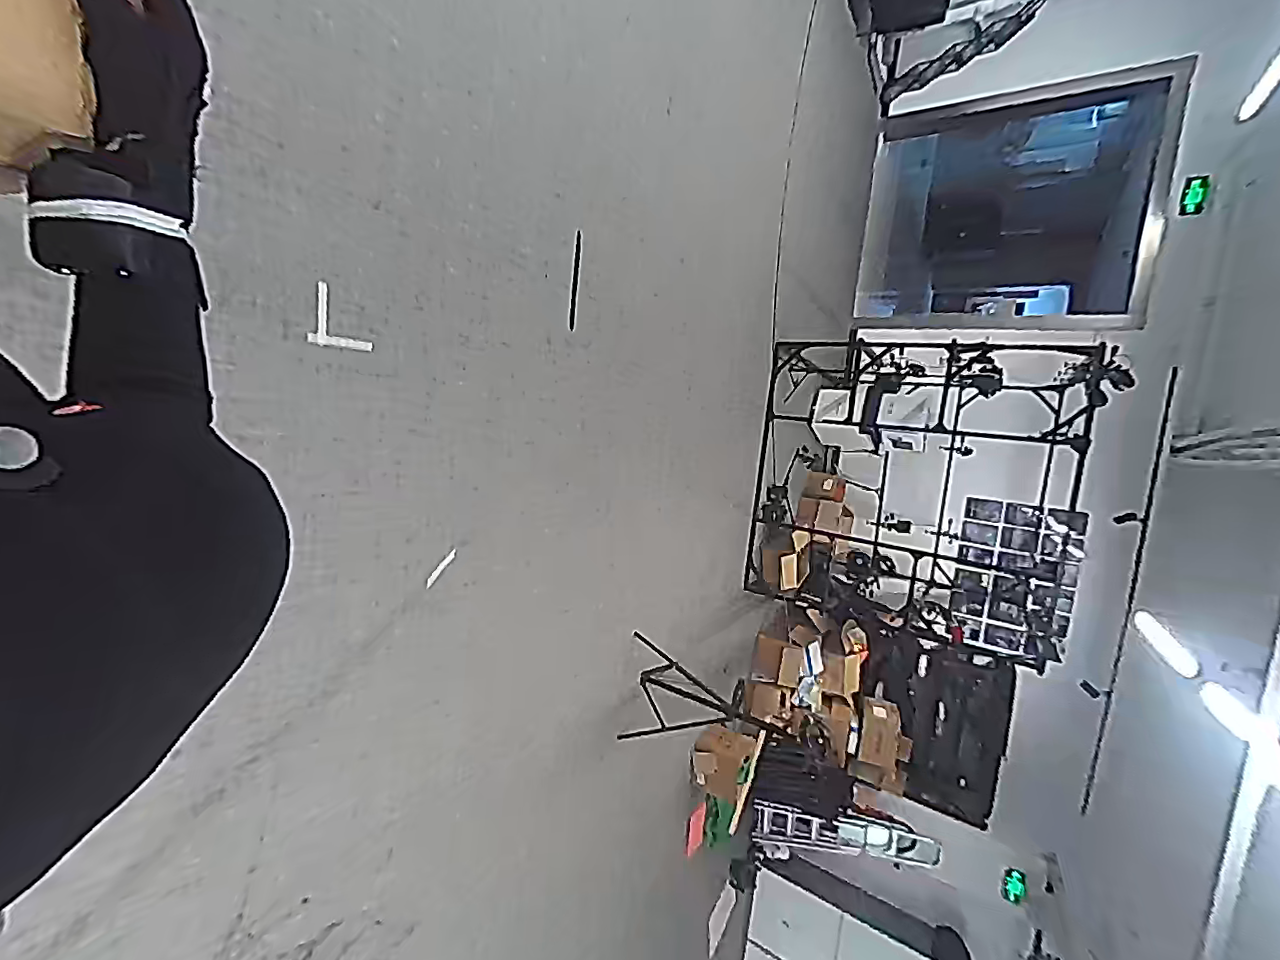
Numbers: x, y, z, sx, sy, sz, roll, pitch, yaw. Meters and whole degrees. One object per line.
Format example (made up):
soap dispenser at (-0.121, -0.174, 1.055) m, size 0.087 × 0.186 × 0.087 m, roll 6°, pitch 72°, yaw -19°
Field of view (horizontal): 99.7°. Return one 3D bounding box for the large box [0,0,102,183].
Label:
large box at (-0.590, -0.376, 0.255) m, size 0.408 × 0.320 × 0.320 m, roll -10°, pitch 113°, yaw -61°
